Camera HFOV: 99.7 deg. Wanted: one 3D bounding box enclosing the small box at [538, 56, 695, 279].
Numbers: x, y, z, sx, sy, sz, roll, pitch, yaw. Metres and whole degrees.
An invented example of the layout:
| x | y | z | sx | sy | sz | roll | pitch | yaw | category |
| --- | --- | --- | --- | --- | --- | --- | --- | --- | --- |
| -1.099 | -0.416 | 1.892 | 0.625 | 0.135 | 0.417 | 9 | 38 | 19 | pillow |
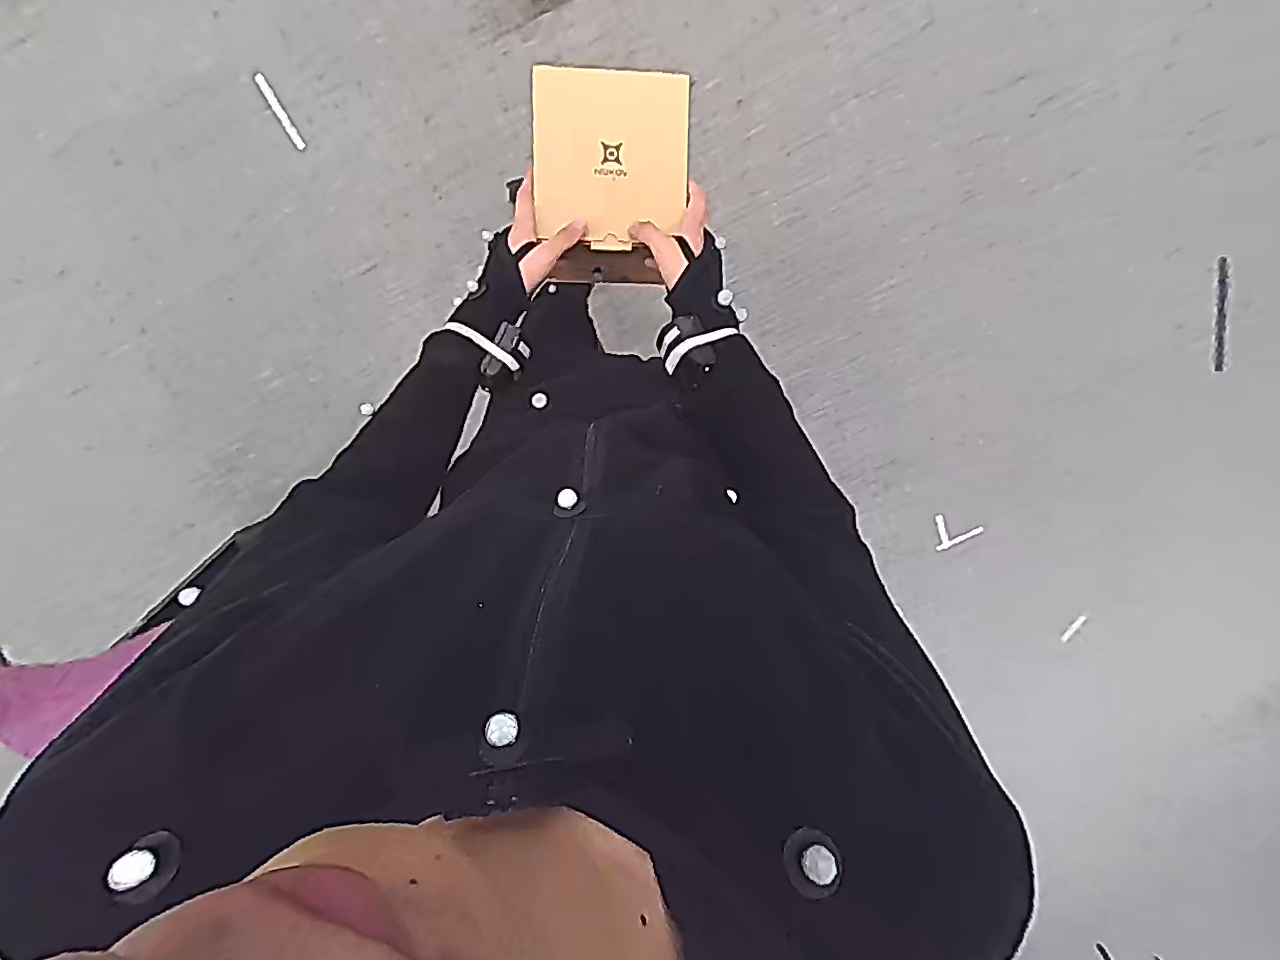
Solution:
| x | y | z | sx | sy | sz | roll | pitch | yaw | category |
| --- | --- | --- | --- | --- | --- | --- | --- | --- | --- |
| -0.032 | -0.354 | 0.645 | 0.168 | 0.176 | 0.179 | 0 | 98 | -5 | small box |
